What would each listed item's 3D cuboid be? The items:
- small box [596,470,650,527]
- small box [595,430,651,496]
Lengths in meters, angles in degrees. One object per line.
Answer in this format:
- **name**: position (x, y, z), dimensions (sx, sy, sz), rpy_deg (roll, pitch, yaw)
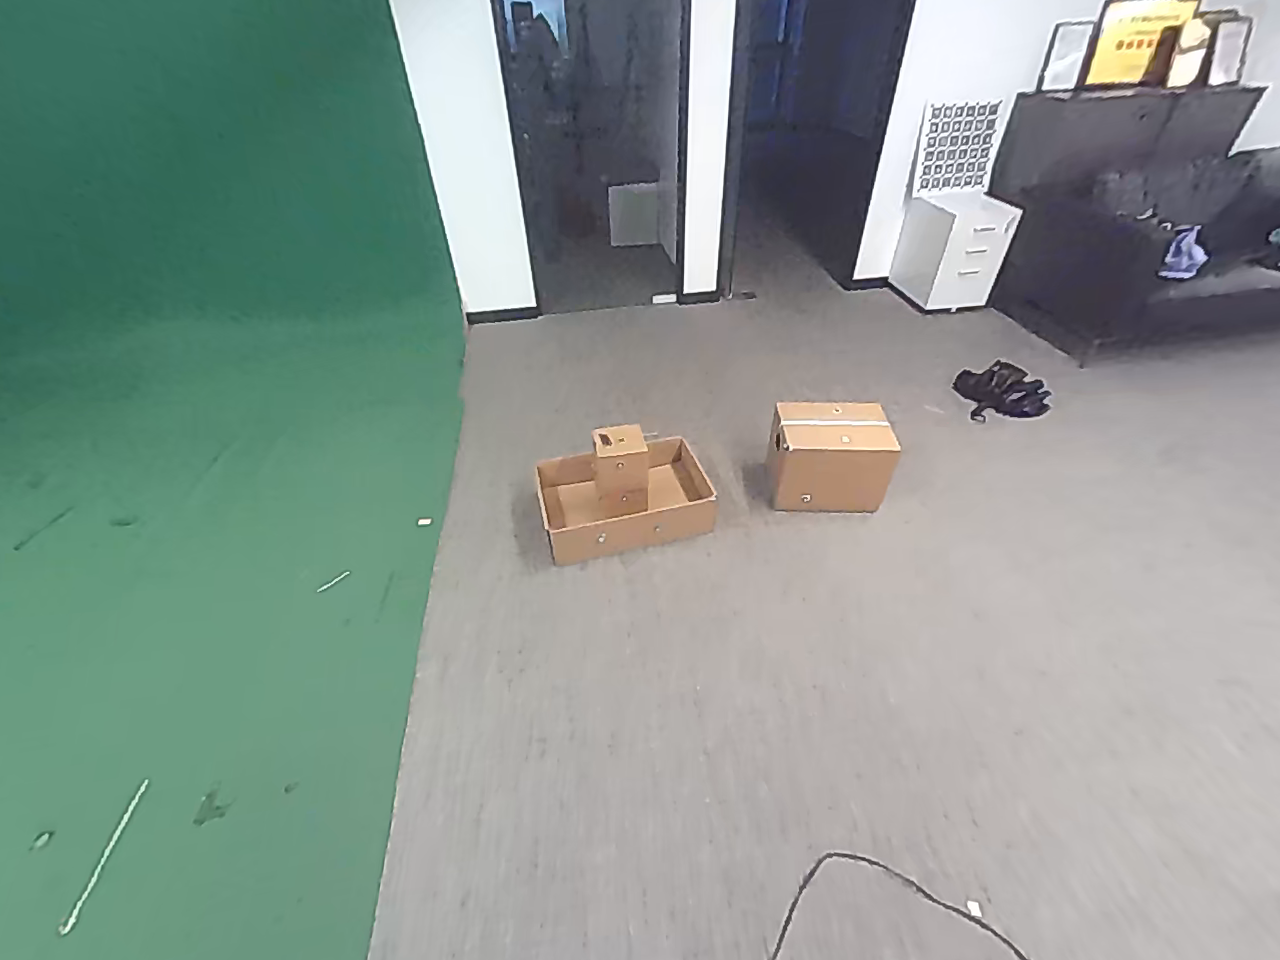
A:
- **small box**: position (-0.062, 0.060, 2.047), dimensions (0.179, 0.176, 0.168), rpy_deg (-9, 41, -11)
- **small box**: position (-0.061, -0.059, 1.932), dimensions (0.179, 0.176, 0.168), rpy_deg (-7, 41, -9)
